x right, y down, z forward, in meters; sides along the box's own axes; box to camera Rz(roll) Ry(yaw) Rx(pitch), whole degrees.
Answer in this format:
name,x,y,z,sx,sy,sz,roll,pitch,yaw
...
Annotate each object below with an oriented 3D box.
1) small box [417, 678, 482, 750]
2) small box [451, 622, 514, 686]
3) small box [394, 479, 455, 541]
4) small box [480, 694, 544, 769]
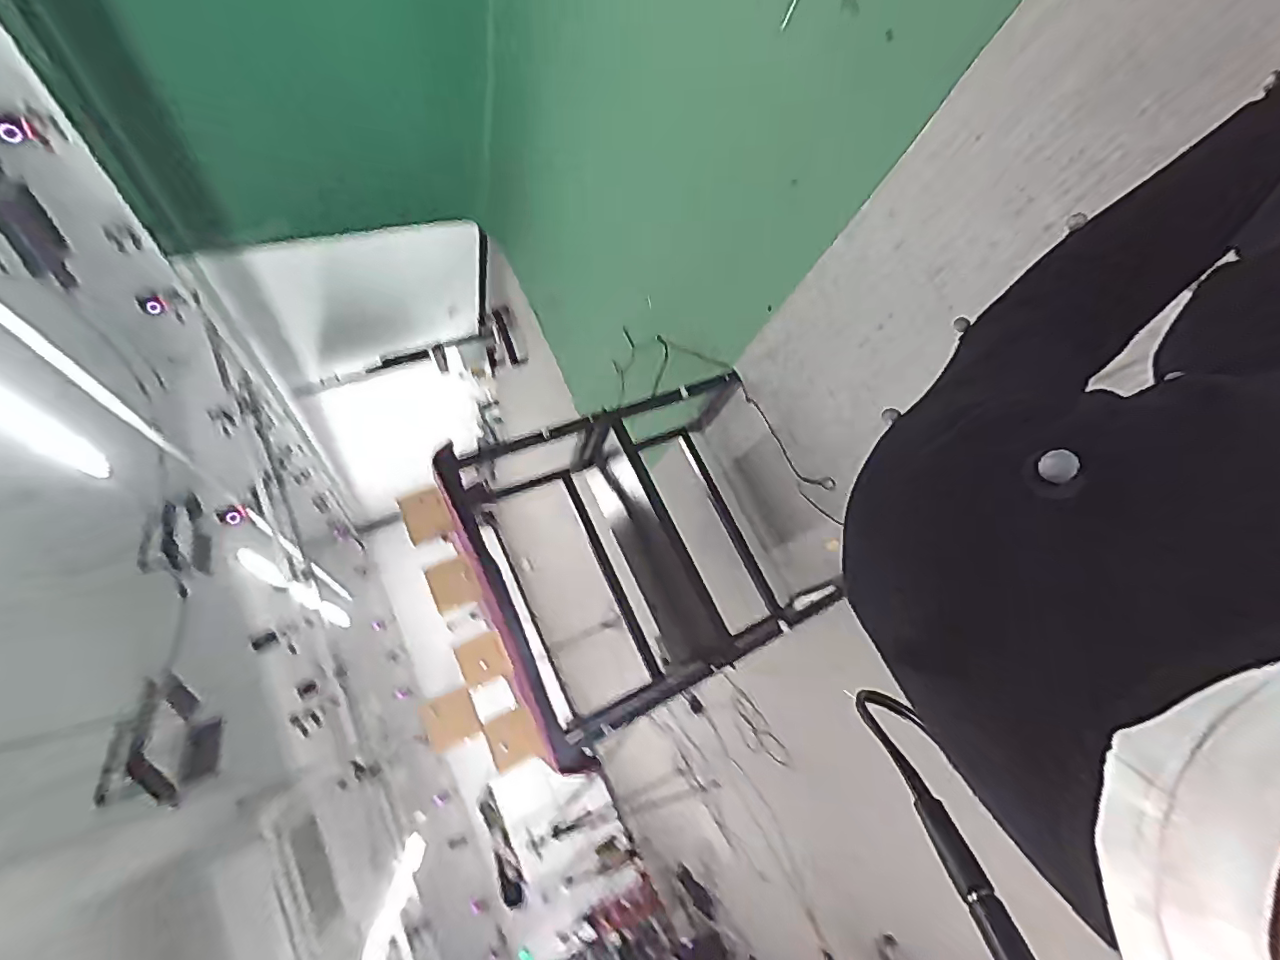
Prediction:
name,x,y,z,sx,sy,sz,roll,pitch,yaw
small box,-0.657,0.802,1.875,0.179,0.176,0.168,65,158,11
small box,-0.567,0.629,1.958,0.168,0.176,0.179,63,158,12
small box,-0.836,0.116,2.110,0.168,0.176,0.179,64,158,12
small box,-0.449,0.879,1.899,0.179,0.176,0.168,65,157,13
